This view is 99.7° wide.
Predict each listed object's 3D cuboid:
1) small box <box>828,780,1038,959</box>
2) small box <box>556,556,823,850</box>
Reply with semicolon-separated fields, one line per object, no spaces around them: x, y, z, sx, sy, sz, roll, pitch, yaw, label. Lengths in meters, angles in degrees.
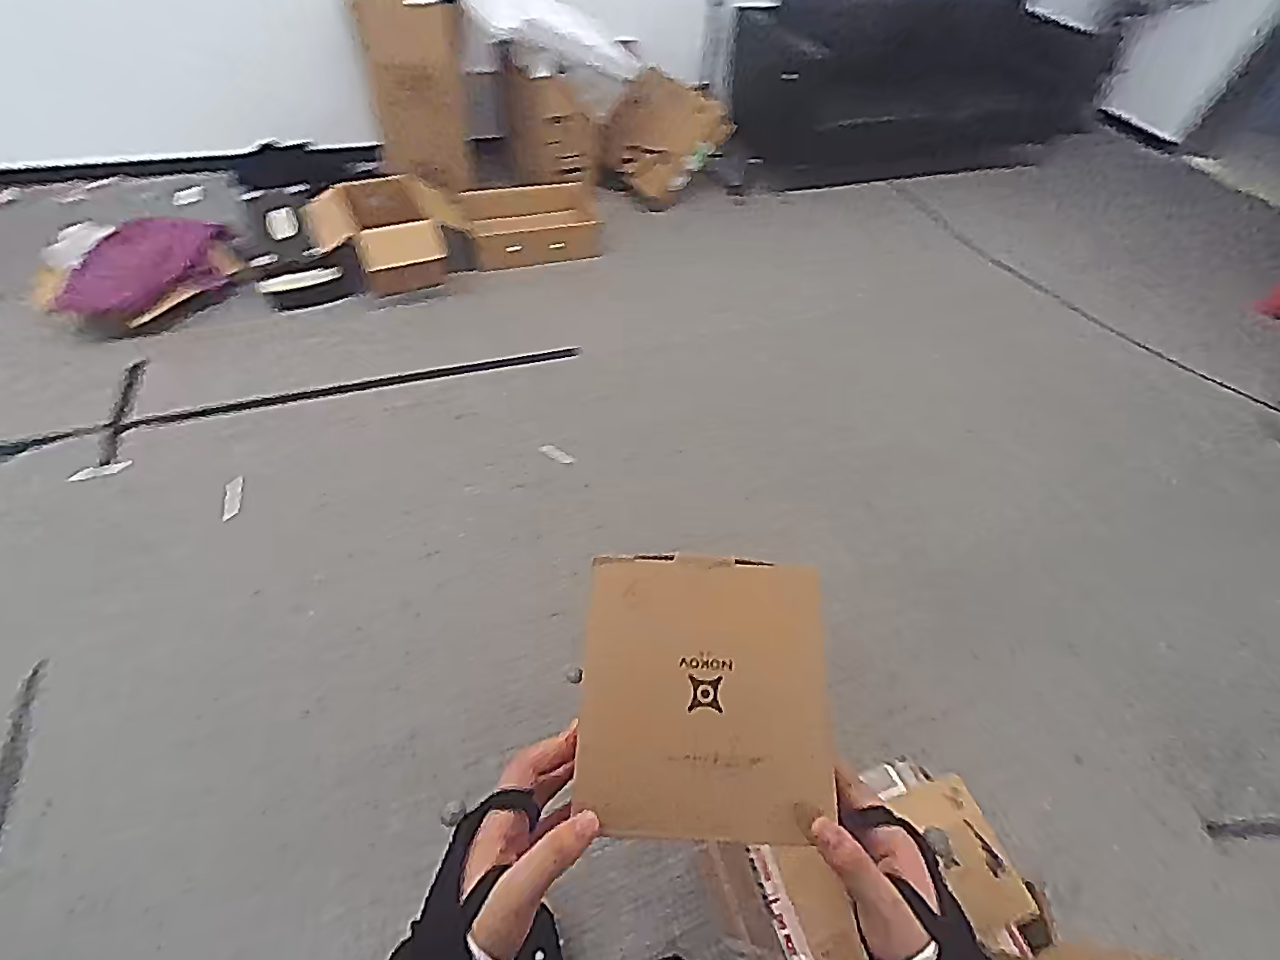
0.385;0.549;0.756;0.179;0.176;0.168;-12;53;-11;small box
0.030;0.170;0.431;0.168;0.176;0.179;3;67;-1;small box
